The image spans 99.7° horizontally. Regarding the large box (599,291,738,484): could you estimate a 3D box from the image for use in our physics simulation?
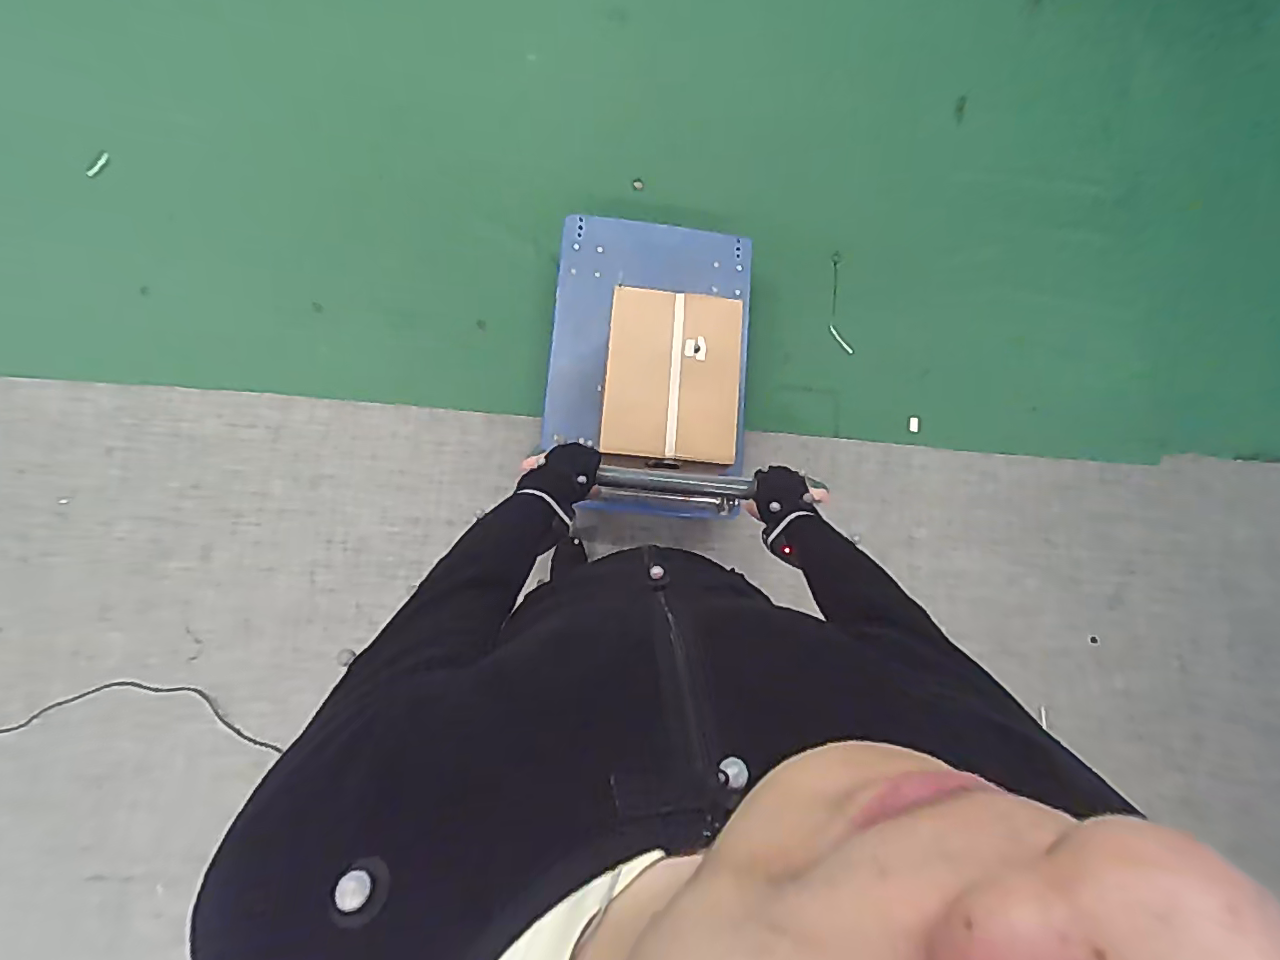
[{"bbox_3d":[0.060,-0.215,1.396,0.320,0.320,0.408,5,80,-6],"label":"large box"}]
